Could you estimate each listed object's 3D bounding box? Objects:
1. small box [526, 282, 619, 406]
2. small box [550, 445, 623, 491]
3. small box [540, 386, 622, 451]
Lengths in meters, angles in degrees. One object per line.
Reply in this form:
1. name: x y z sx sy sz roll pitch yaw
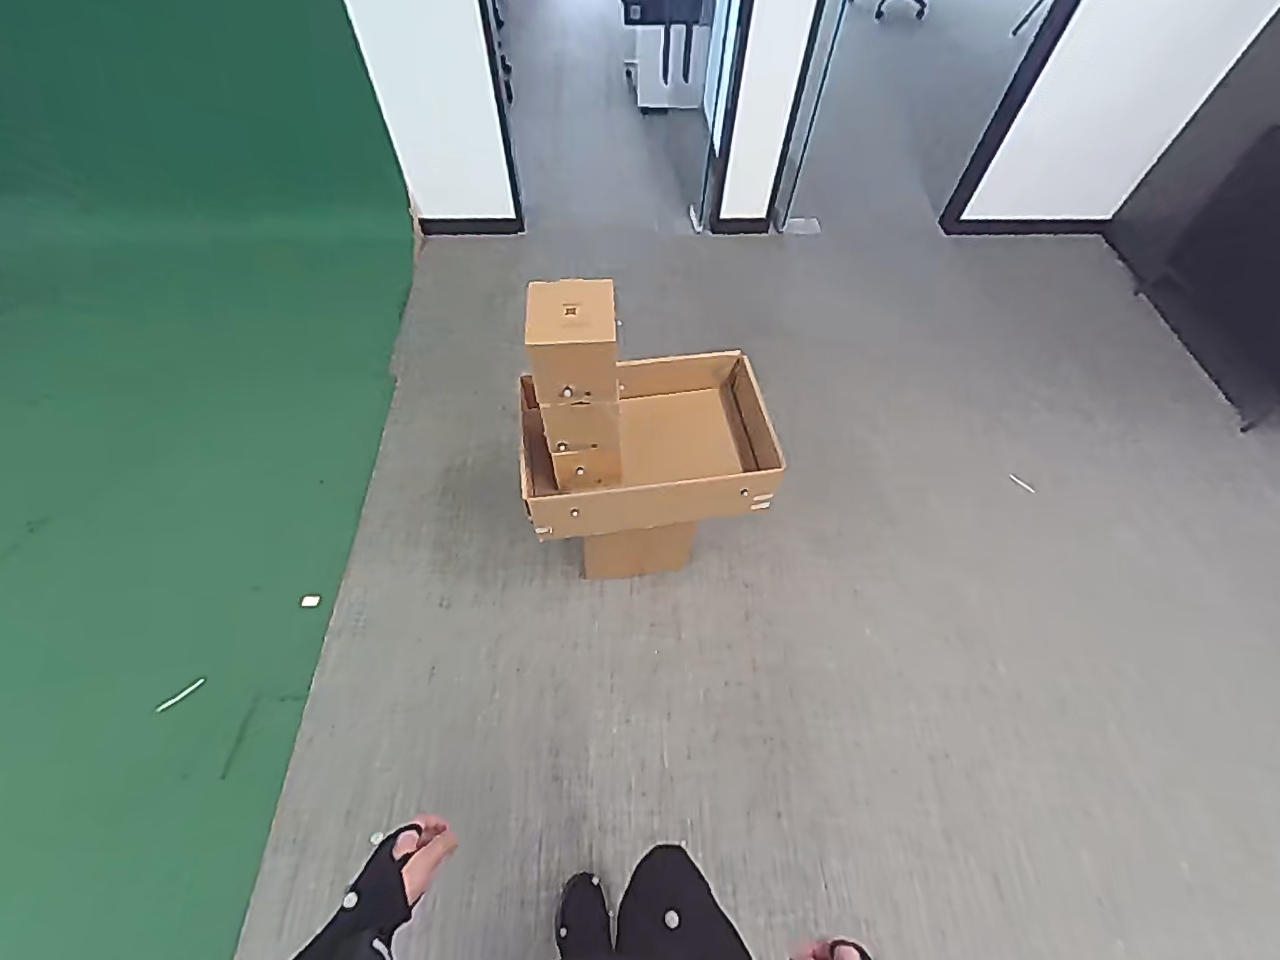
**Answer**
1. small box: -0.126 -0.267 1.067 0.168 0.176 0.179 -2 57 -3
2. small box: -0.133 -0.085 1.339 0.168 0.176 0.179 -6 57 -6
3. small box: -0.127 -0.175 1.202 0.168 0.176 0.179 -3 56 -4
